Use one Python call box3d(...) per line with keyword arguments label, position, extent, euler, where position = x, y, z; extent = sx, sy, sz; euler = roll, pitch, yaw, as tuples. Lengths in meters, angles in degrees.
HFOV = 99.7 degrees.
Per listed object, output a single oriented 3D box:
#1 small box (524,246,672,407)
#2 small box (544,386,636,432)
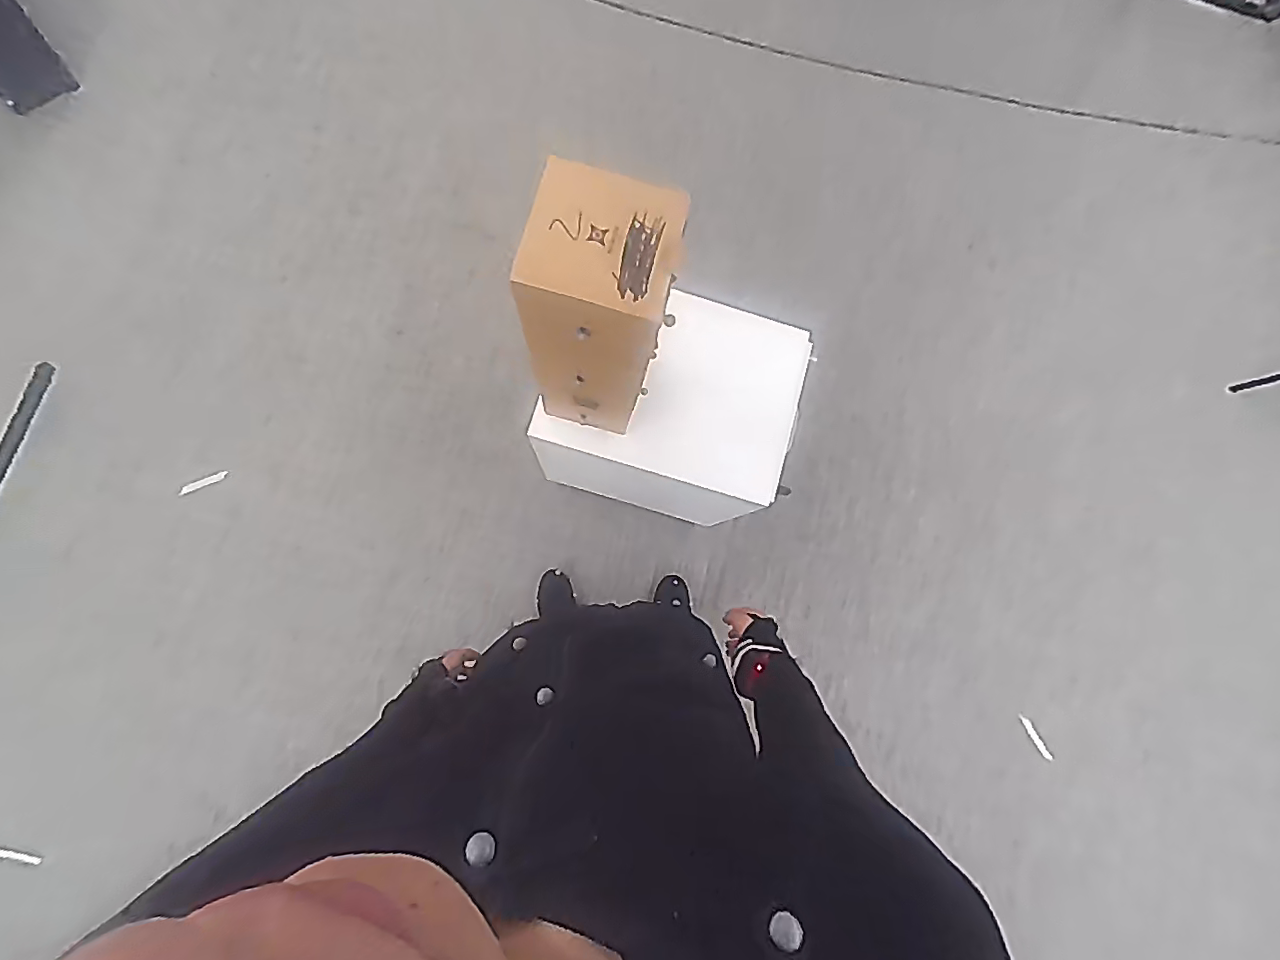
box3d(label="small box", position=(-0.065, -0.226, 0.846), extent=(0.179, 0.176, 0.168), euler=(16, 80, -2))
box3d(label="small box", position=(-0.078, -0.207, 1.009), extent=(0.168, 0.176, 0.179), euler=(16, 80, -3))
